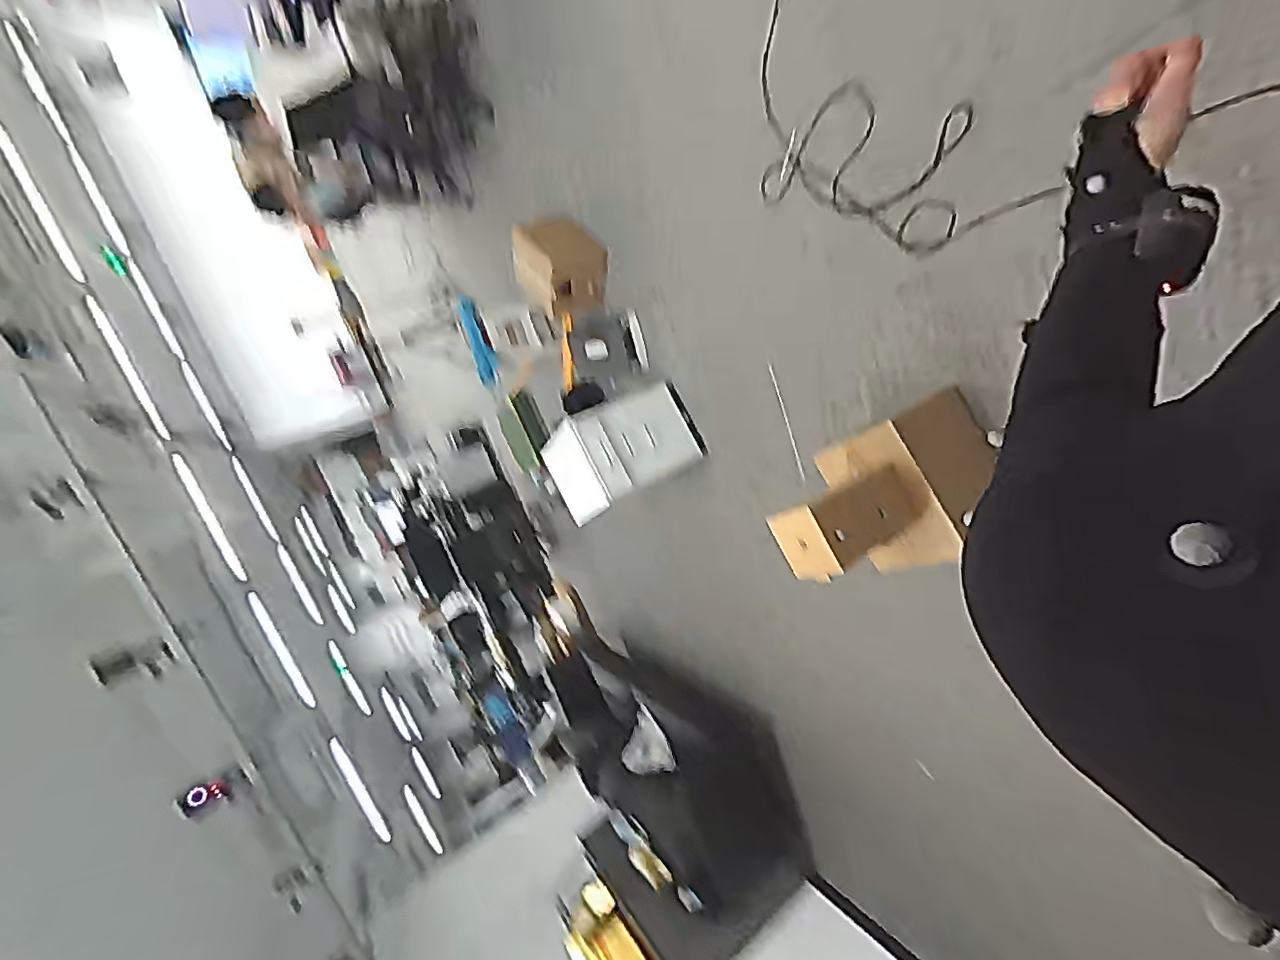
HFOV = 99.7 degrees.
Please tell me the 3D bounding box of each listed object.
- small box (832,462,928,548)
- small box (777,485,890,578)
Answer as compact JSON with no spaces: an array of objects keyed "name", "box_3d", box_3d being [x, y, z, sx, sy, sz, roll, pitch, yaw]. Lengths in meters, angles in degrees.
[{"name":"small box","box_3d":[0.629,0.076,1.451,0.179,0.176,0.168,62,153,4]},{"name":"small box","box_3d":[0.493,0.128,1.378,0.179,0.176,0.168,61,152,3]}]
